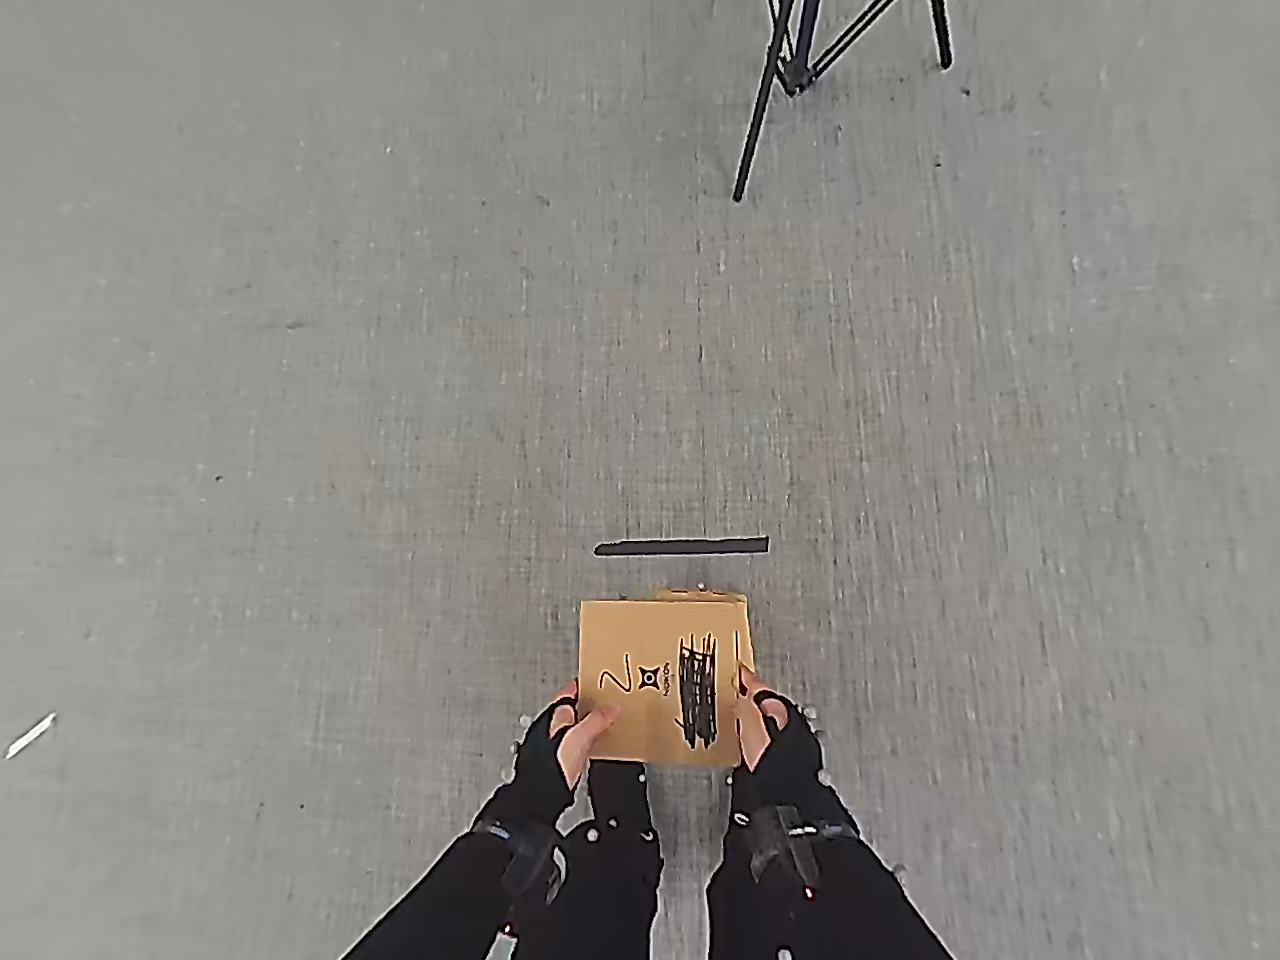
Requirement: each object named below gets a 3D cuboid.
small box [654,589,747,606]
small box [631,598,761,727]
[{"bbox_3d":[0.112,0.301,1.022,0.168,0.176,0.179,1,79,7],"label":"small box"},{"bbox_3d":[0.087,0.281,0.862,0.179,0.176,0.168,-7,79,6],"label":"small box"}]
